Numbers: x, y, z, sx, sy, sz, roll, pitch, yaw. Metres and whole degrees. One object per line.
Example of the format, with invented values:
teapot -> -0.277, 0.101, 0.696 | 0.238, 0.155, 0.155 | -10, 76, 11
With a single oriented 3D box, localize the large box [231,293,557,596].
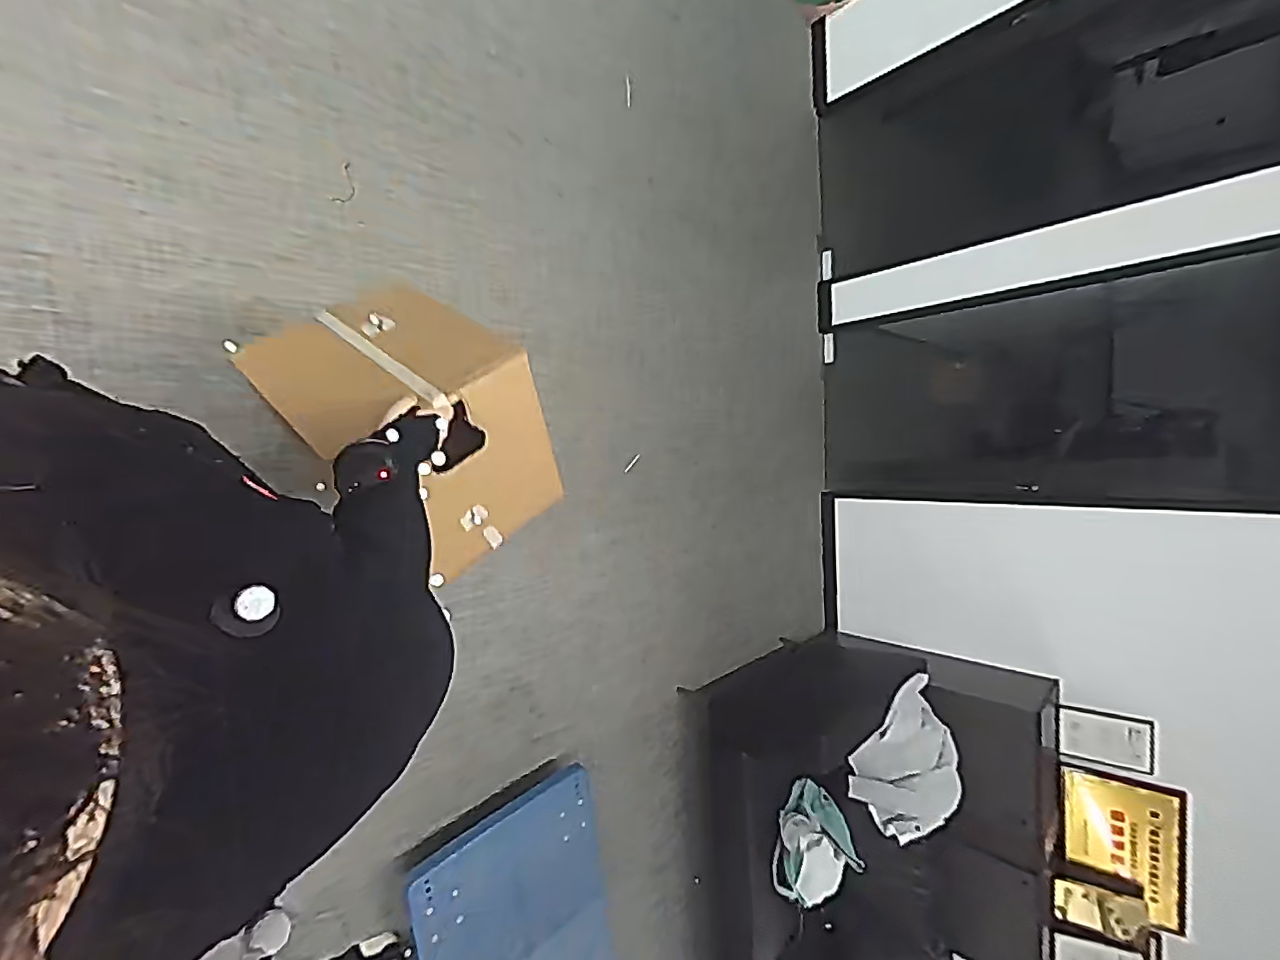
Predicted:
large box -> -0.408, -0.079, 0.946 | 0.320, 0.408, 0.320 | -36, 141, -29
